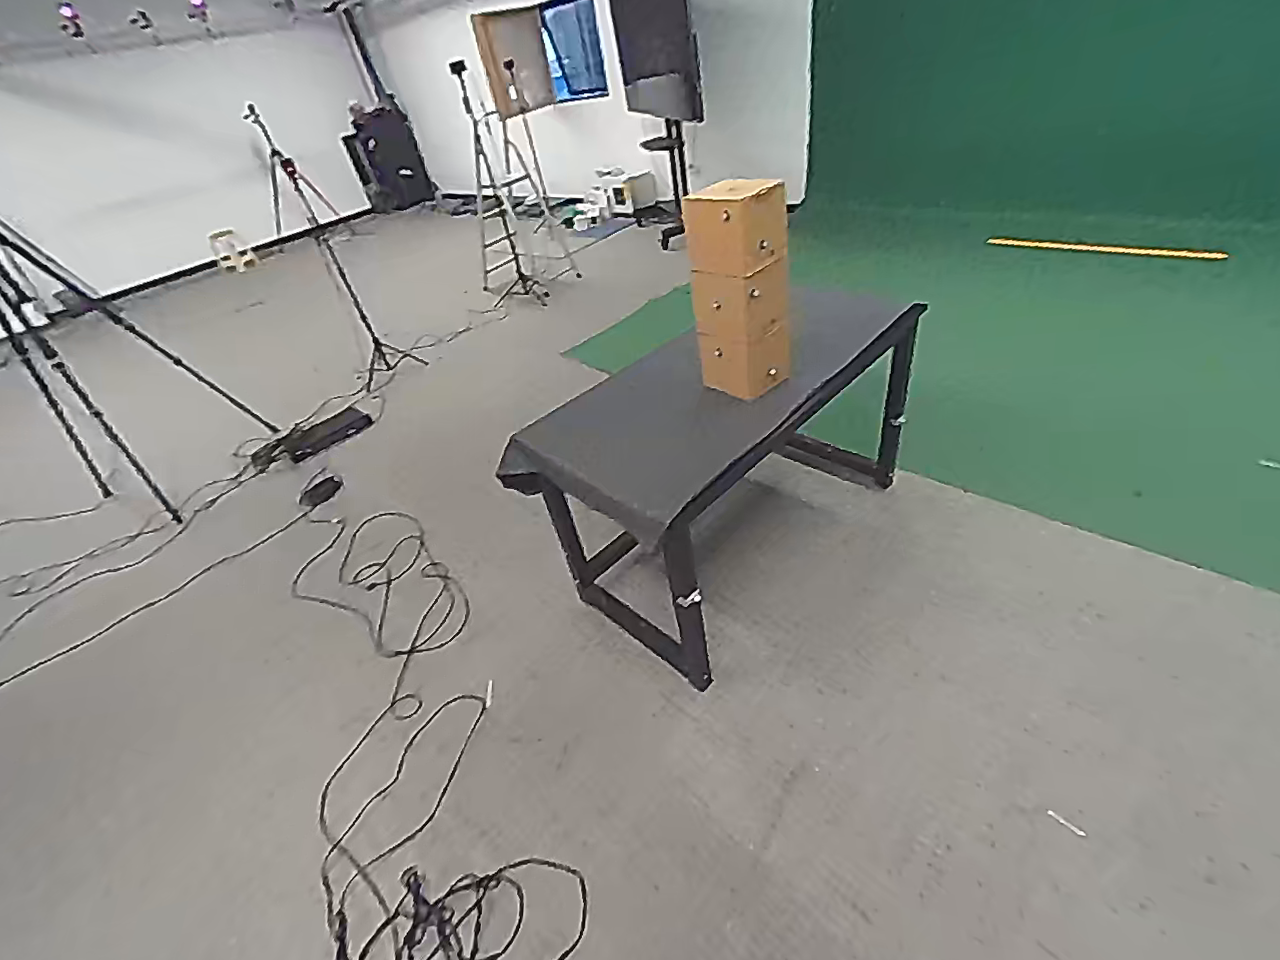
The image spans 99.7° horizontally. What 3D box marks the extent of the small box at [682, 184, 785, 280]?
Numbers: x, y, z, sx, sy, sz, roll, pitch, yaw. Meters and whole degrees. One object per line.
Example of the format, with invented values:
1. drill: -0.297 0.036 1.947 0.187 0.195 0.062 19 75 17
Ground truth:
1. small box: 0.223 -0.587 1.280 0.168 0.176 0.179 -37 43 -29

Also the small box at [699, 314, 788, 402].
1. small box: 0.284 -0.333 1.476 0.168 0.176 0.179 -34 42 -25
